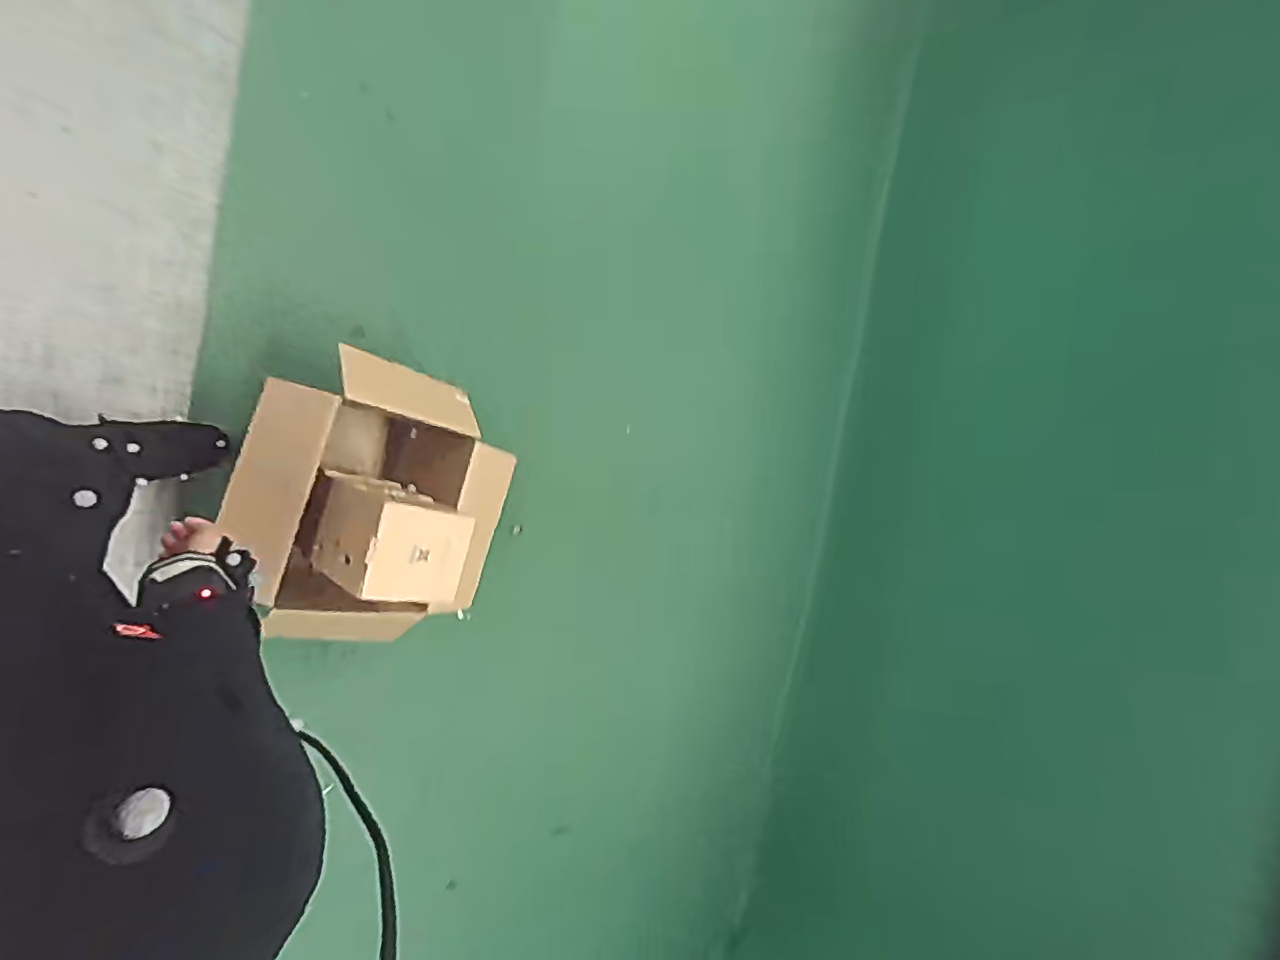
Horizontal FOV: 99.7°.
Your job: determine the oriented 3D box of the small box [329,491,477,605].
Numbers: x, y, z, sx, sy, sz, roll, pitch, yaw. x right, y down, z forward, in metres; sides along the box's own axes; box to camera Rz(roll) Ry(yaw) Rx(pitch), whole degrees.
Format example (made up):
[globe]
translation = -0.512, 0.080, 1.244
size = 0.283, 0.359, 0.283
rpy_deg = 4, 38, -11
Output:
[small box]
translation = -0.435, 0.122, 0.987
size = 0.179, 0.176, 0.168
rpy_deg = 18, 86, -49
